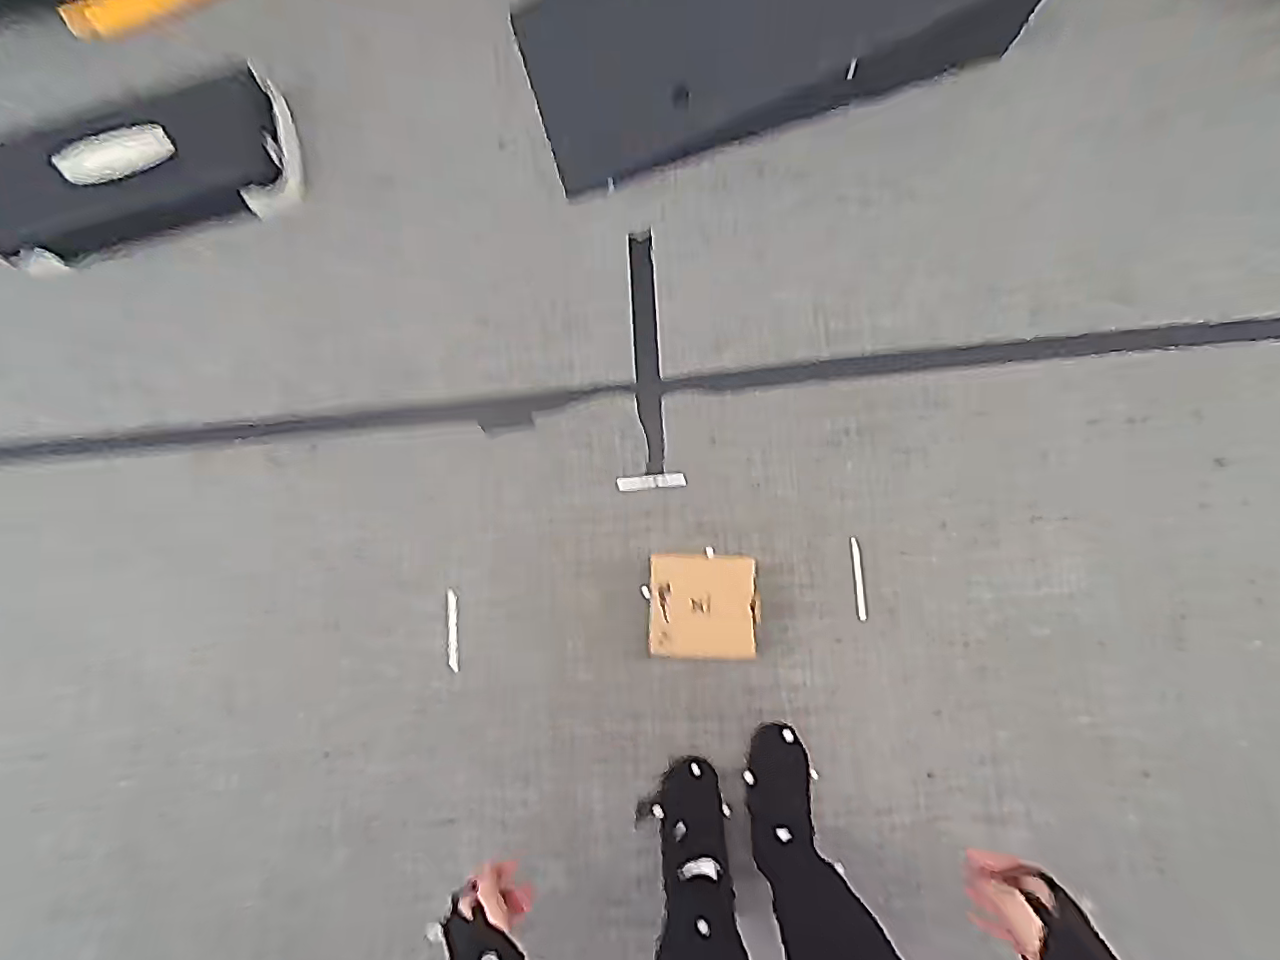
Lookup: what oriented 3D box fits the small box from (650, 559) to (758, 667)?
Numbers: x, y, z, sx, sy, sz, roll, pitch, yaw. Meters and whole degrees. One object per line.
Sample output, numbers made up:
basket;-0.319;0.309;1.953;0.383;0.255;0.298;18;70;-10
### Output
small box;0.108;0.229;0.969;0.179;0.176;0.168;2;83;3
